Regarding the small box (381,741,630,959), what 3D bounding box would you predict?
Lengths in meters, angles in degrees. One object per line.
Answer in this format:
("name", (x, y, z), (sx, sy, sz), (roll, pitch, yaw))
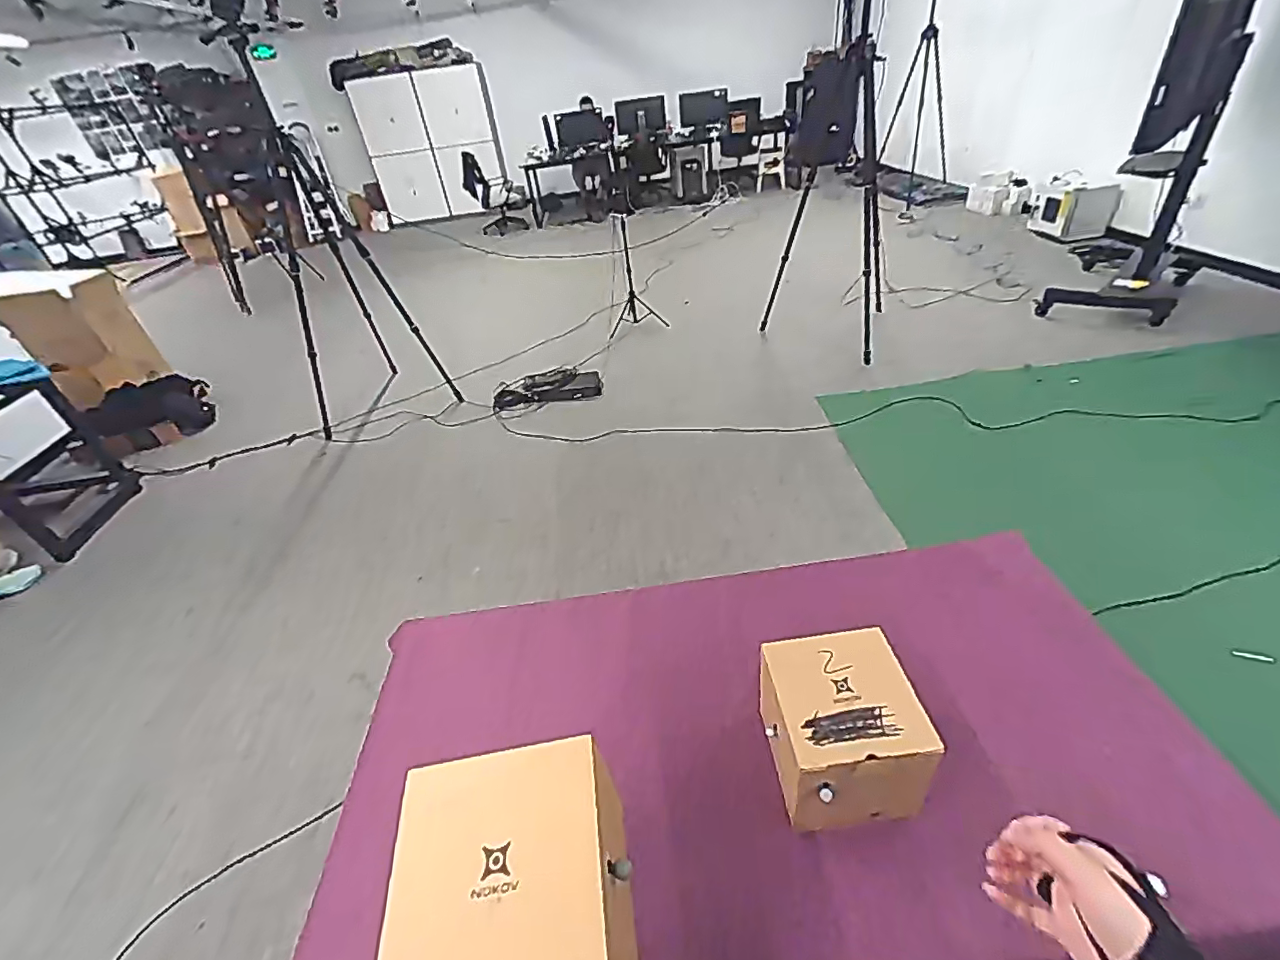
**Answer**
("small box", (-0.105, 0.366, 0.481), (0.168, 0.176, 0.179), (-11, 43, -2))
